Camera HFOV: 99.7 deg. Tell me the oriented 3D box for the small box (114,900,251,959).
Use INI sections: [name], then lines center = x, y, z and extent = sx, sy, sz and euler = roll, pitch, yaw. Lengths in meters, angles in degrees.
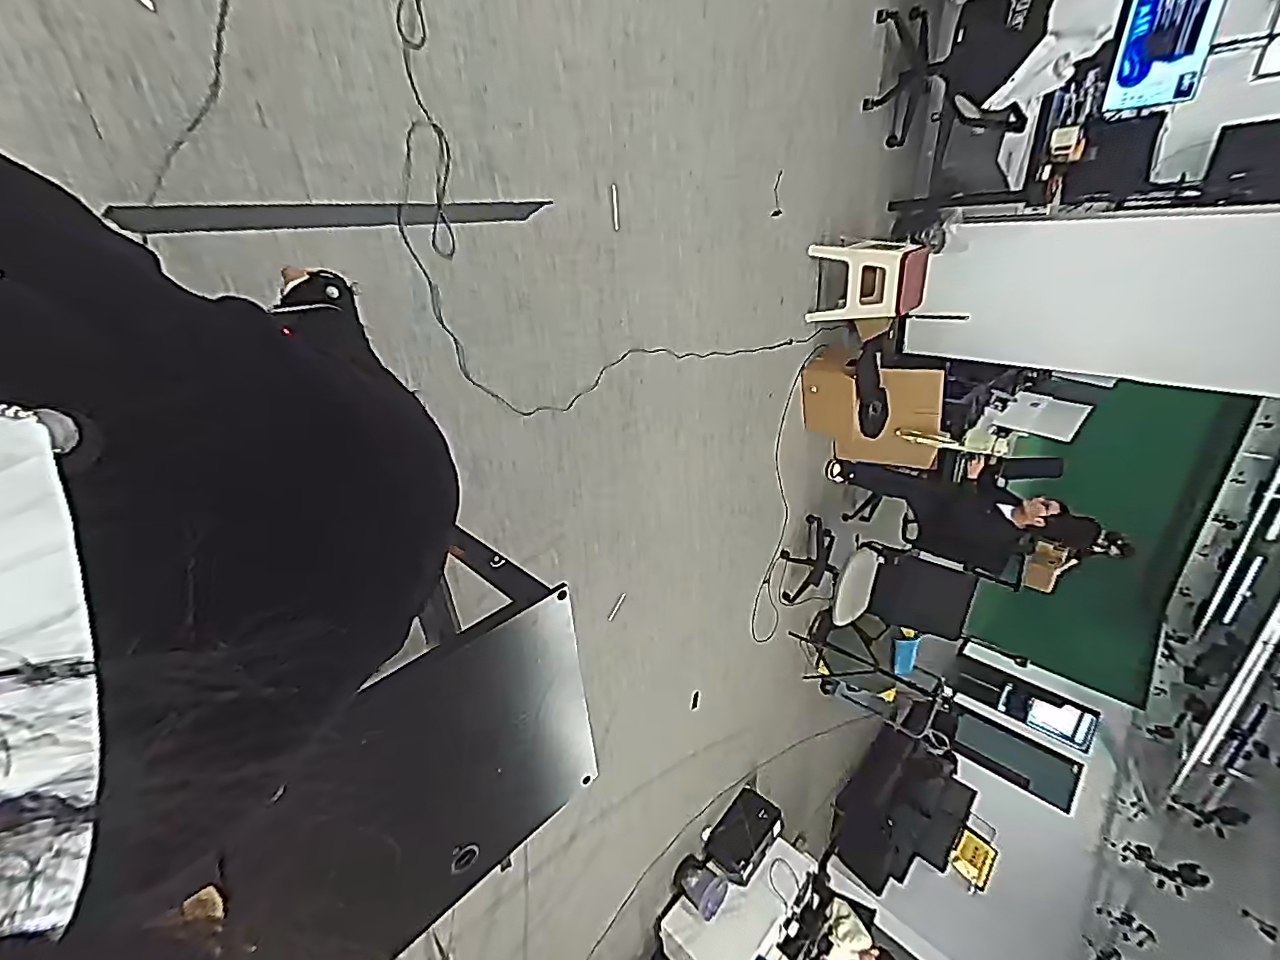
[small box]
center = -0.607, 0.707, 0.696
extent = 0.179, 0.176, 0.168
euler = -25, 123, -38
